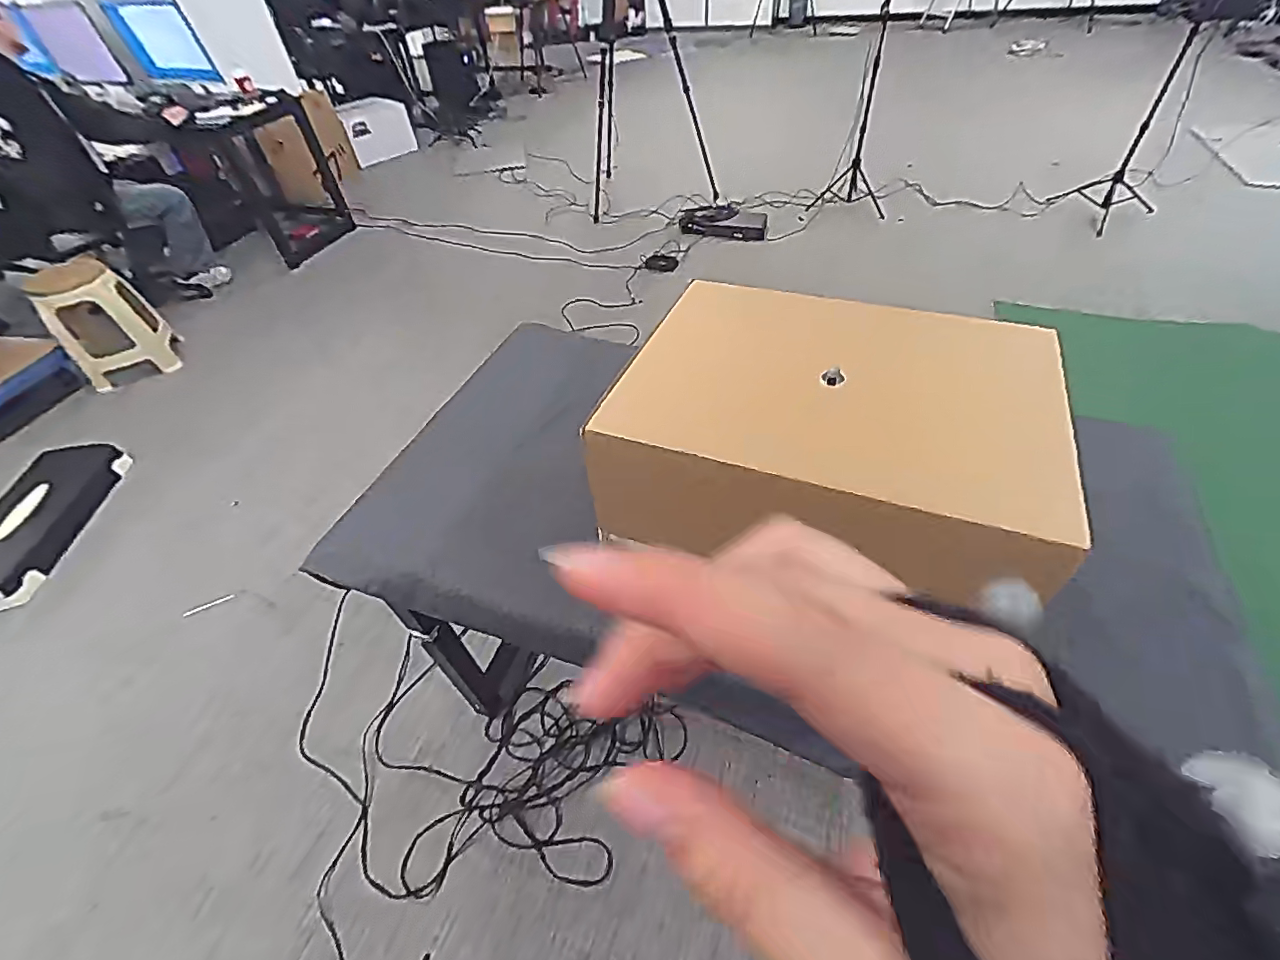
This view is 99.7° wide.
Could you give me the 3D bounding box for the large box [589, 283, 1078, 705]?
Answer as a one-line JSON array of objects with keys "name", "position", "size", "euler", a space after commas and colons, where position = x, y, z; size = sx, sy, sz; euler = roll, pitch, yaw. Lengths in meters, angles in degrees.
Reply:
[{"name": "large box", "position": [0.197, 0.007, 0.644], "size": [0.408, 0.320, 0.320], "euler": [14, 49, 17]}]
